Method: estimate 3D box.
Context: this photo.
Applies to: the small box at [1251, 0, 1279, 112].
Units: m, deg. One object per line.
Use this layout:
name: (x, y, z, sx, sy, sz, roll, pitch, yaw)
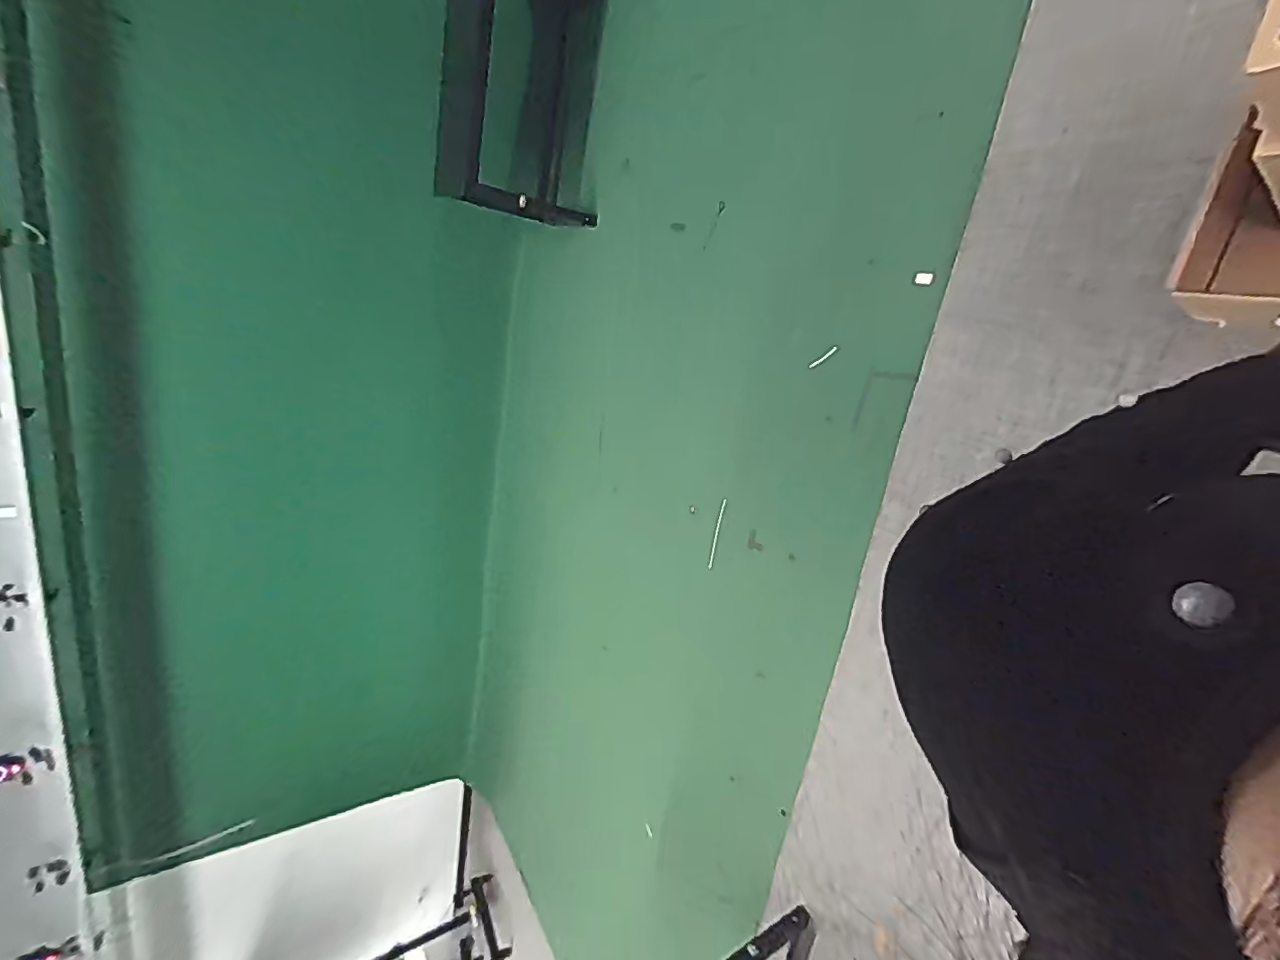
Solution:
small box: (0.596, -0.381, 0.375, 0.179, 0.176, 0.168, 28, 114, 52)
